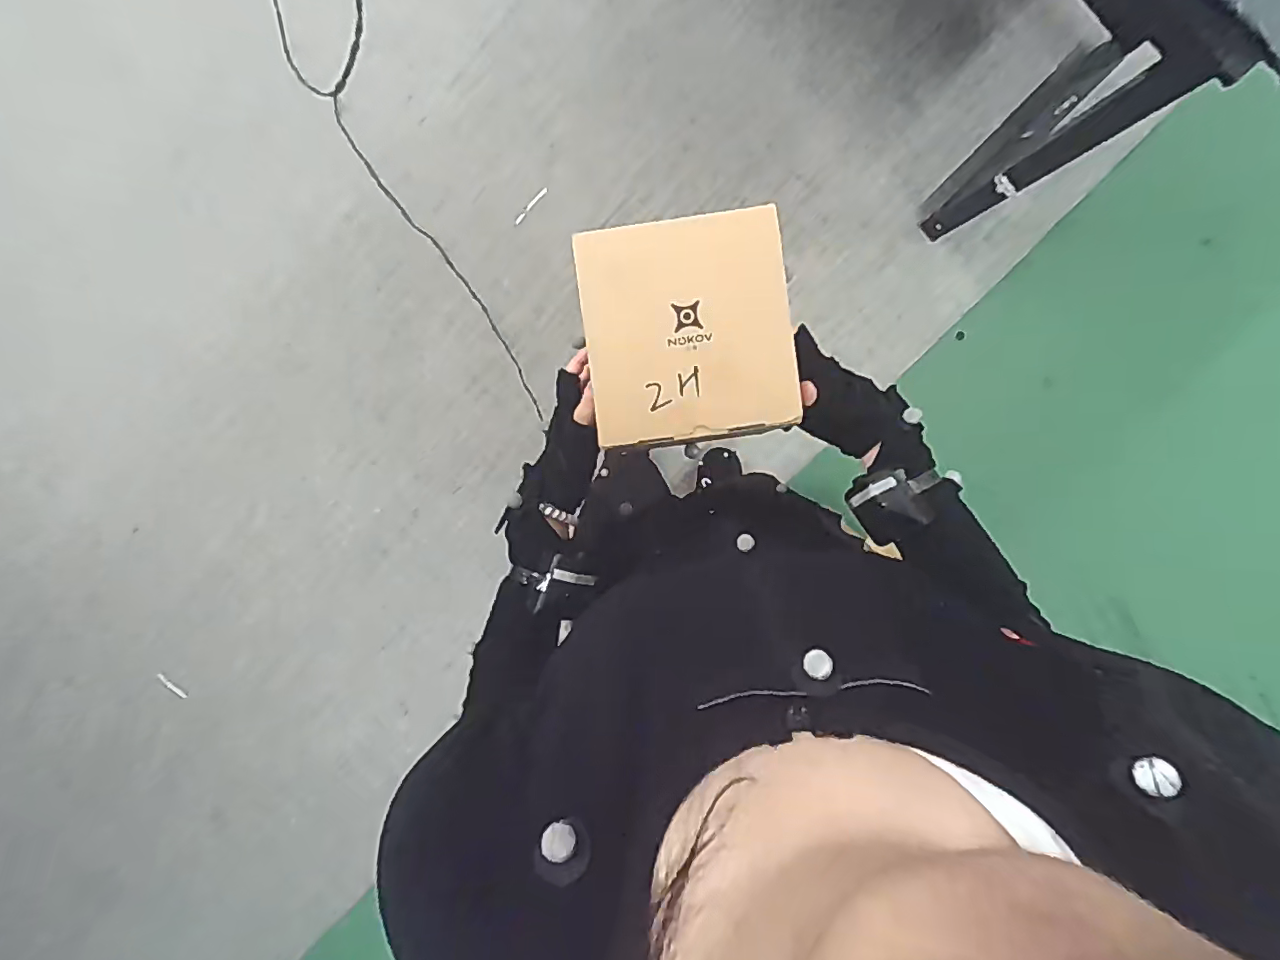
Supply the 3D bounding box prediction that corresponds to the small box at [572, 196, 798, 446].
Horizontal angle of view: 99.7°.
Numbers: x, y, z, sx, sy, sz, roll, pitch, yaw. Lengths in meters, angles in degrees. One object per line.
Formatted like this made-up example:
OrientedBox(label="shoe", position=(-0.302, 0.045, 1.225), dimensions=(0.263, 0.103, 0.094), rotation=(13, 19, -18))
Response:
OrientedBox(label="small box", position=(0.036, -0.129, 0.504), dimensions=(0.168, 0.176, 0.179), rotation=(-7, 91, 2))
